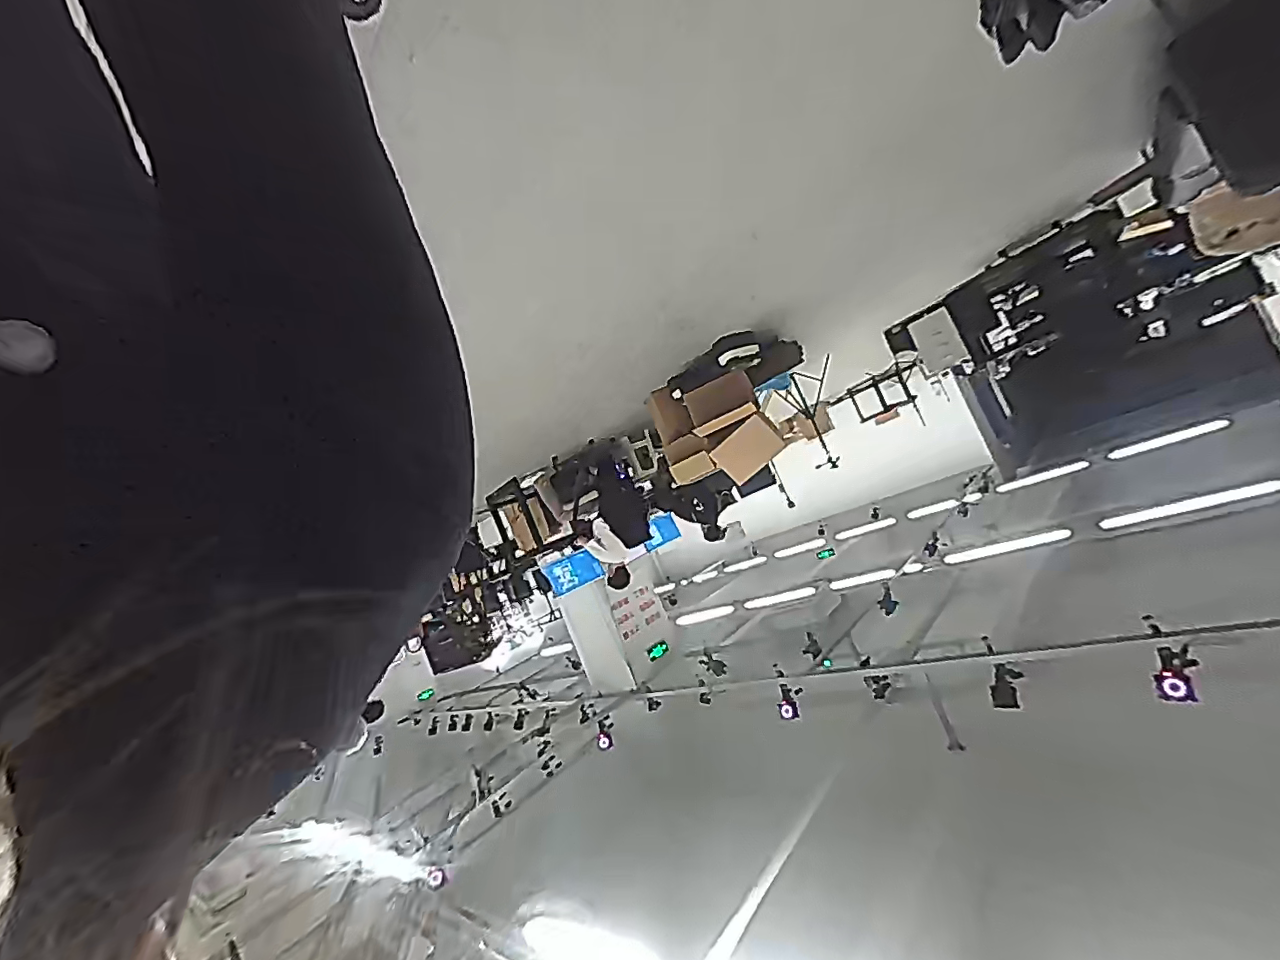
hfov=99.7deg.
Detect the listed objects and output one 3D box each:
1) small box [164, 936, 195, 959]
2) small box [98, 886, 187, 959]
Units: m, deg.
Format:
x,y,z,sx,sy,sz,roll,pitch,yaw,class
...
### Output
x,y,z,sx,sy,sz,roll,pitch,yaw,class
-1.507,1.590,1.697,0.168,0.176,0.179,-20,172,-42,small box
-1.580,1.446,1.719,0.179,0.176,0.168,-20,173,-42,small box
